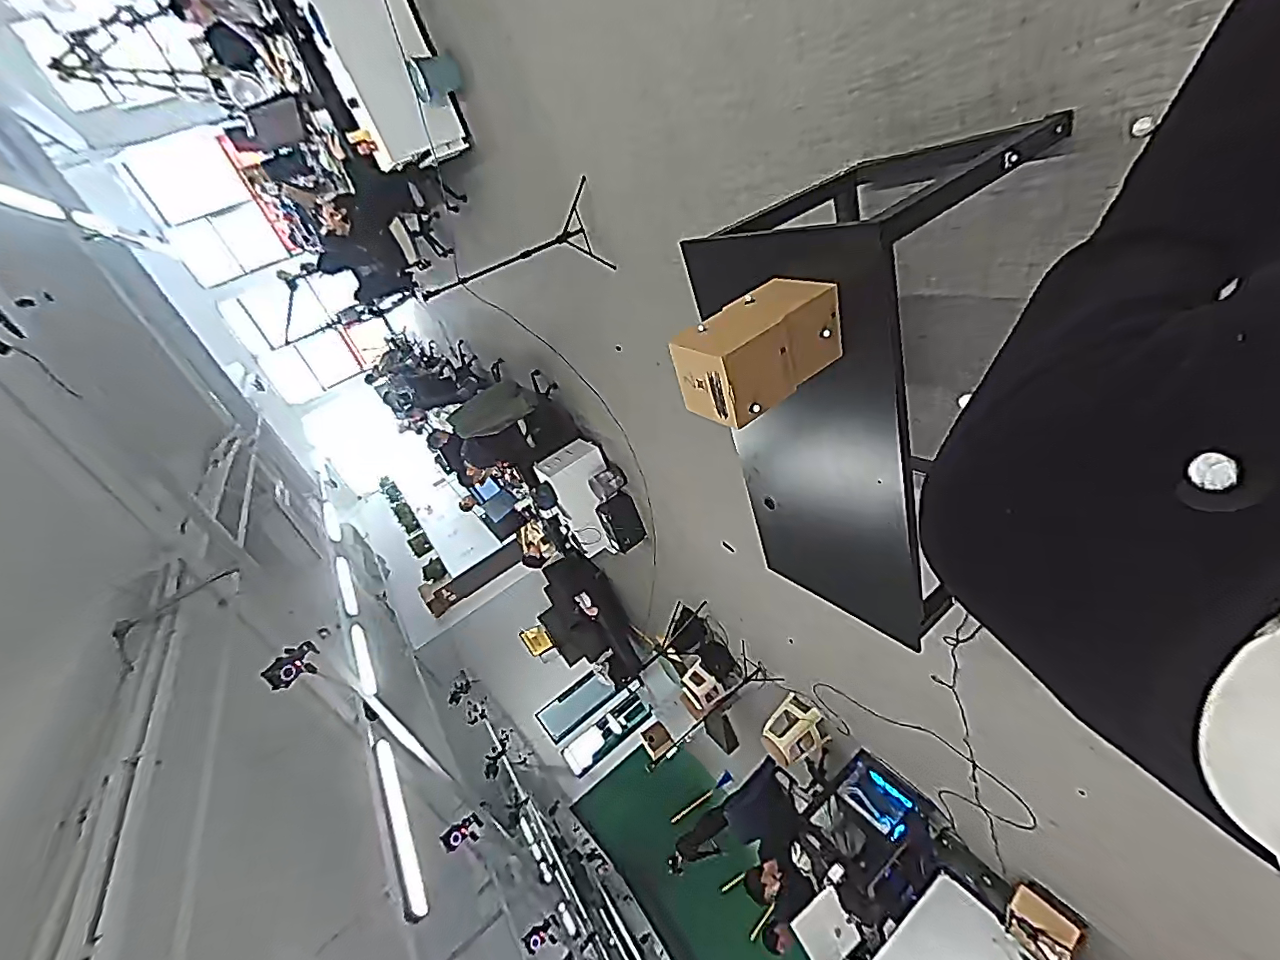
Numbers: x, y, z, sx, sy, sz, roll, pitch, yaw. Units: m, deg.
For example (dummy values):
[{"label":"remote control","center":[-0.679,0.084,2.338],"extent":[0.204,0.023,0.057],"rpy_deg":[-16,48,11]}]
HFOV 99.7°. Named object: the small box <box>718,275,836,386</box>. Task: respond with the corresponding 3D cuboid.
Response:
[{"label":"small box","center":[0.301,-0.333,1.182],"extent":[0.179,0.176,0.168],"rpy_deg":[33,151,48]}]
